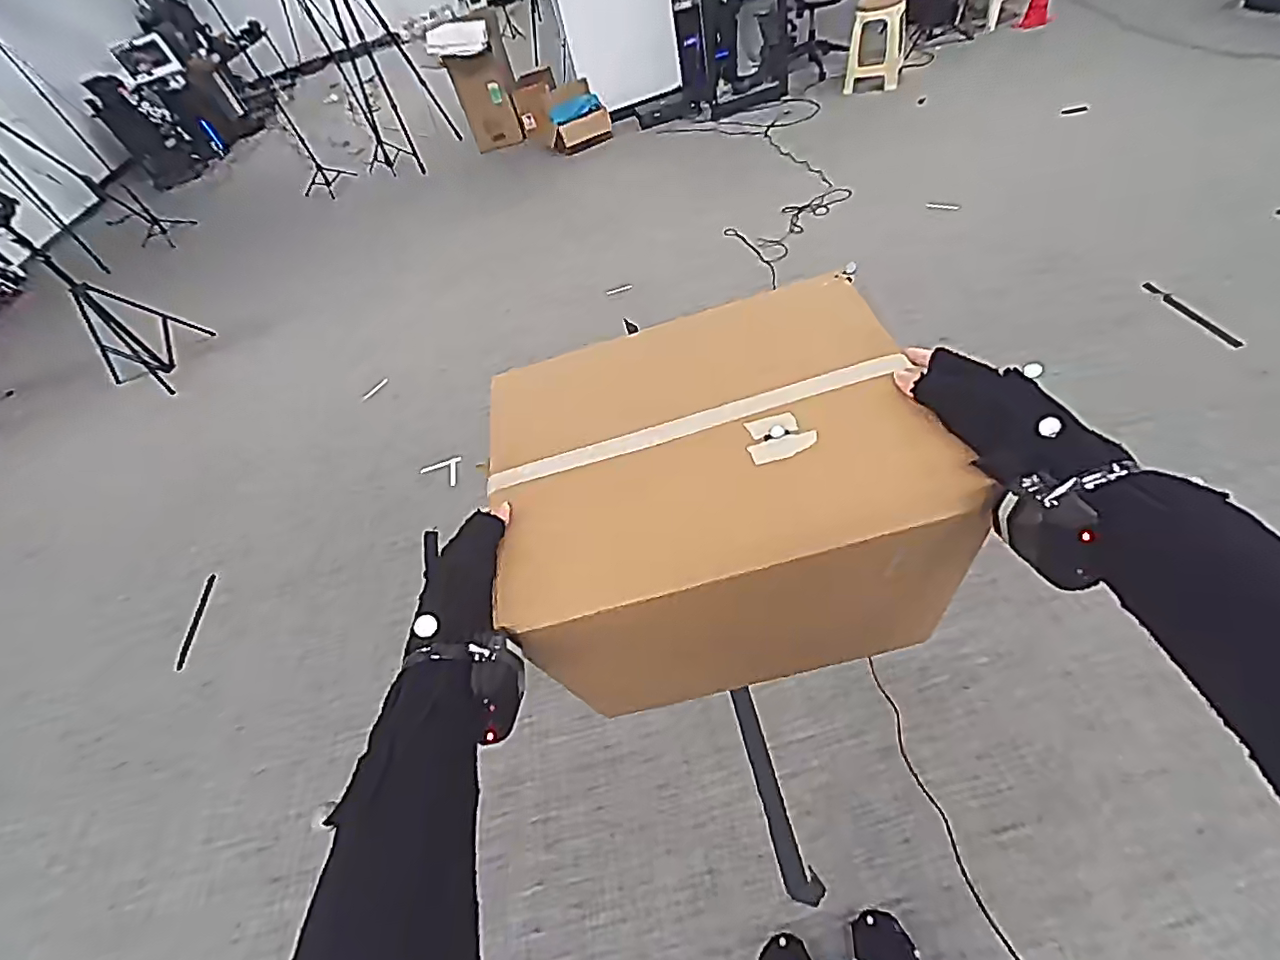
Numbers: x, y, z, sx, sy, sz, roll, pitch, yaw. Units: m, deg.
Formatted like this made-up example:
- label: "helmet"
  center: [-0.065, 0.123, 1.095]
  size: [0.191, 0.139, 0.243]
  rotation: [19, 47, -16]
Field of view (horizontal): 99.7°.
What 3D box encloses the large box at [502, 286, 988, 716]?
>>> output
- label: "large box"
  center: [0.088, 0.041, 0.639]
  size: [0.408, 0.320, 0.320]
  rotation: [-16, 53, 4]
